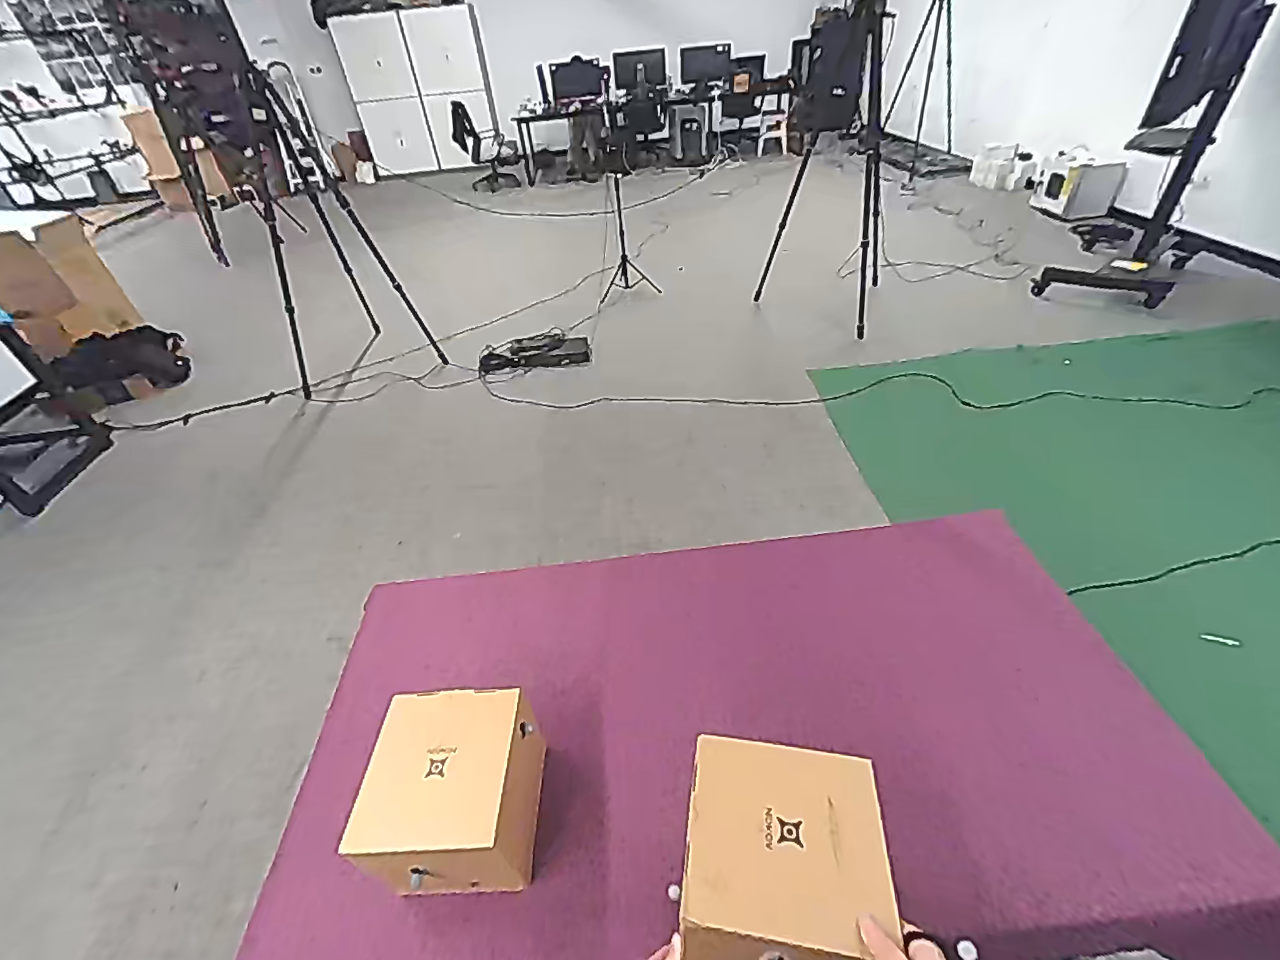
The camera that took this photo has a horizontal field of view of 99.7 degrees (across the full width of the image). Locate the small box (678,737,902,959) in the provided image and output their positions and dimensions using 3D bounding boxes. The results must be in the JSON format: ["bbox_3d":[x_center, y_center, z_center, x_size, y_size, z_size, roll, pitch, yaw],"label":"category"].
[{"bbox_3d":[0.135,0.388,0.533,0.179,0.176,0.168,4,33,11],"label":"small box"}]

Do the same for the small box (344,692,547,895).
[{"bbox_3d":[-0.219,0.390,0.669,0.168,0.176,0.179,-5,39,3],"label":"small box"}]
